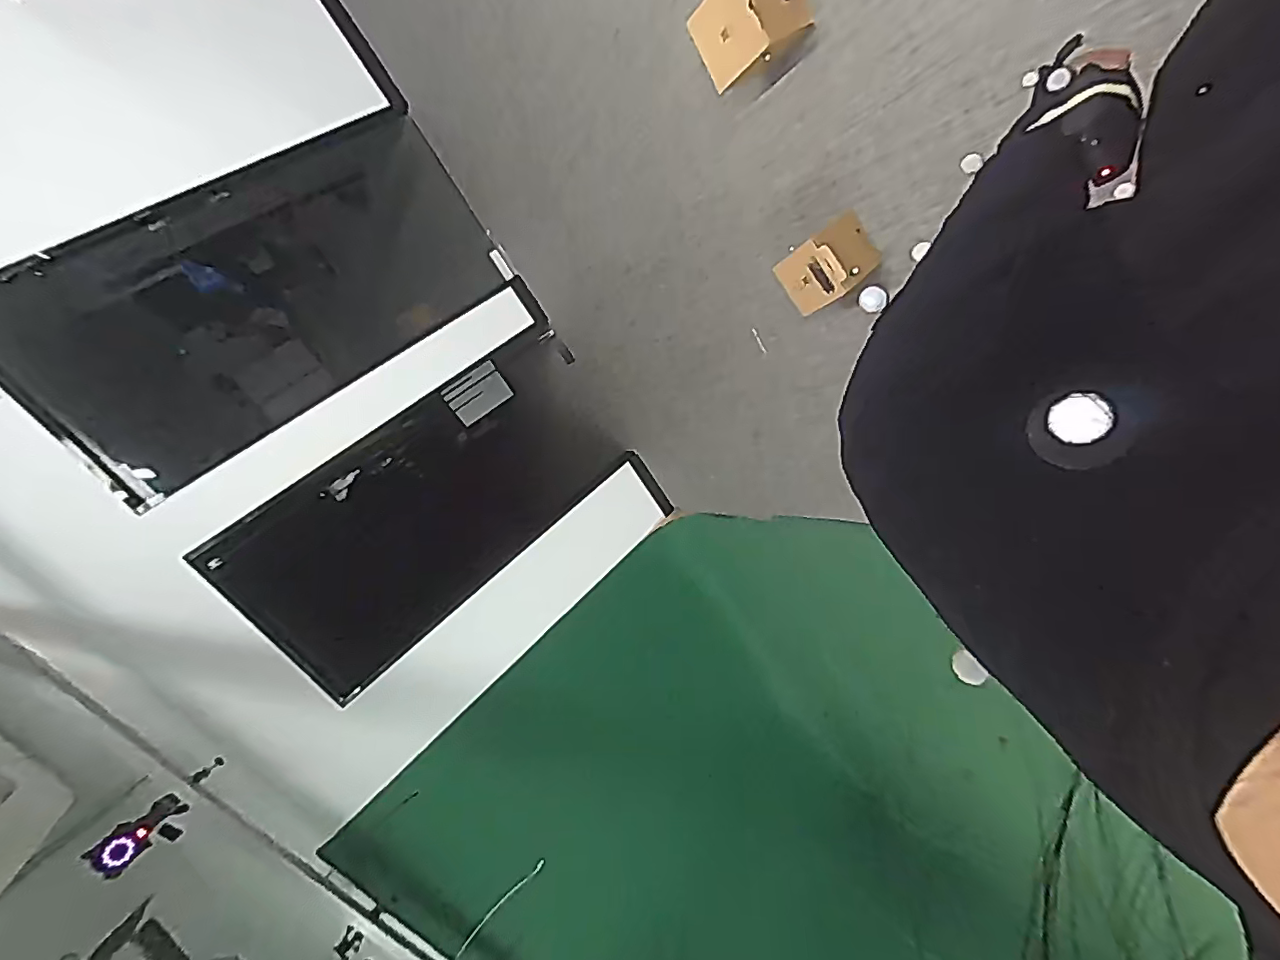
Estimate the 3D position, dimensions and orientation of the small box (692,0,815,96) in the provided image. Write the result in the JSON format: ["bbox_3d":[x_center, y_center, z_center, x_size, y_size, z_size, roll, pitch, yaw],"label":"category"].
[{"bbox_3d":[0.257,-1.023,1.221,0.168,0.176,0.179,57,156,-17],"label":"small box"}]
